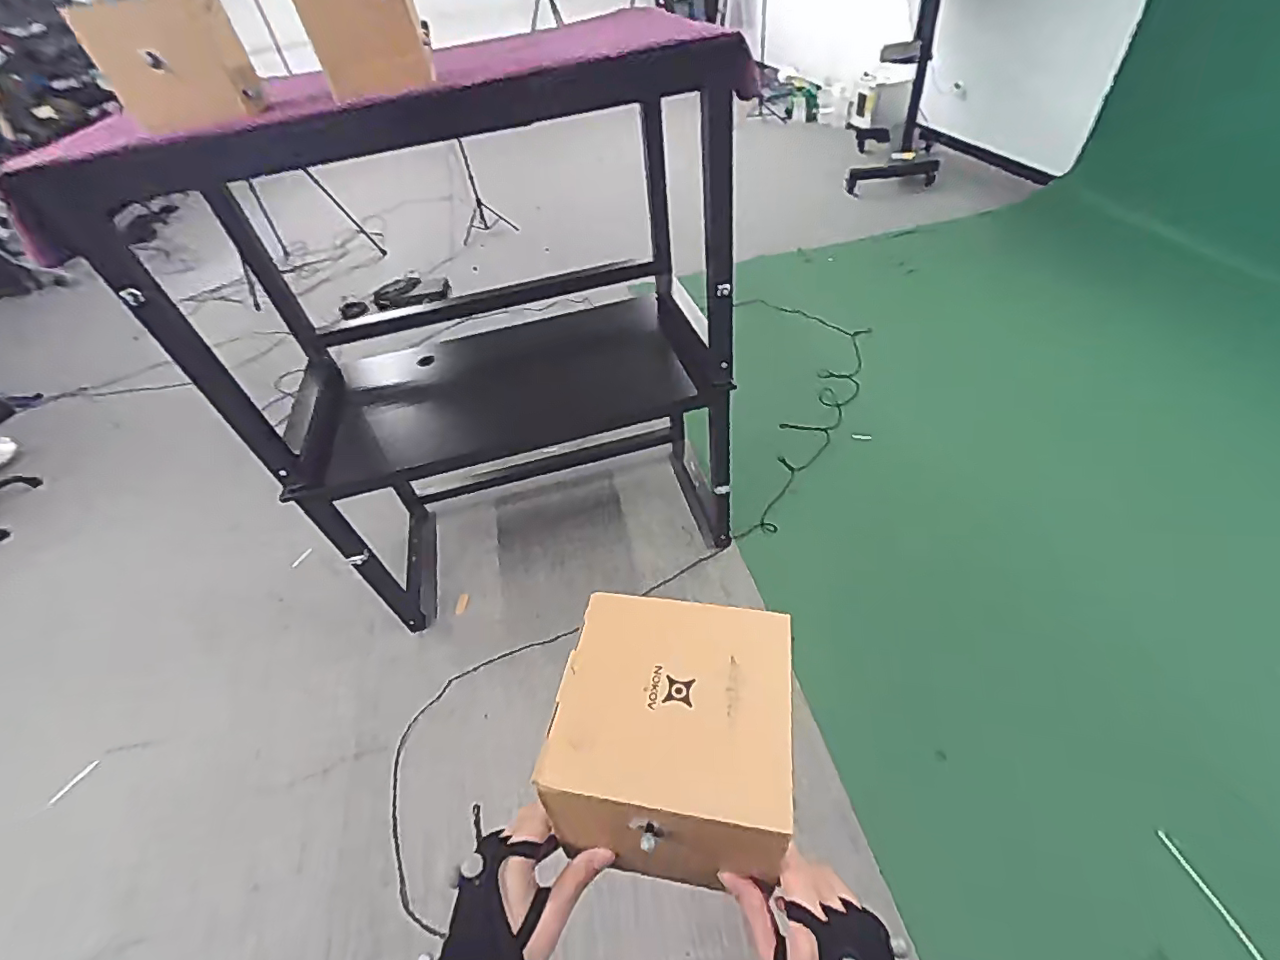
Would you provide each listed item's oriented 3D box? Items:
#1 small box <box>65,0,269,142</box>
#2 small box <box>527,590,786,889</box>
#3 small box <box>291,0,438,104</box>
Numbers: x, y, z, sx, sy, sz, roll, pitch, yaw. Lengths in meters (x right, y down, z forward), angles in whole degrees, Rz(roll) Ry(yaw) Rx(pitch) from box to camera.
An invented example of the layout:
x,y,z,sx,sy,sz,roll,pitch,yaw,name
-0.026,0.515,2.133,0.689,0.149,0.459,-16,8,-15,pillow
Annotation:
x,y,z,sx,sy,sz,roll,pitch,yaw,name
-0.771,-0.697,0.911,0.179,0.176,0.168,-17,45,-6,small box
0.028,0.218,0.462,0.179,0.176,0.168,4,41,11,small box
-0.475,-0.780,0.945,0.179,0.176,0.168,-15,45,-5,small box
